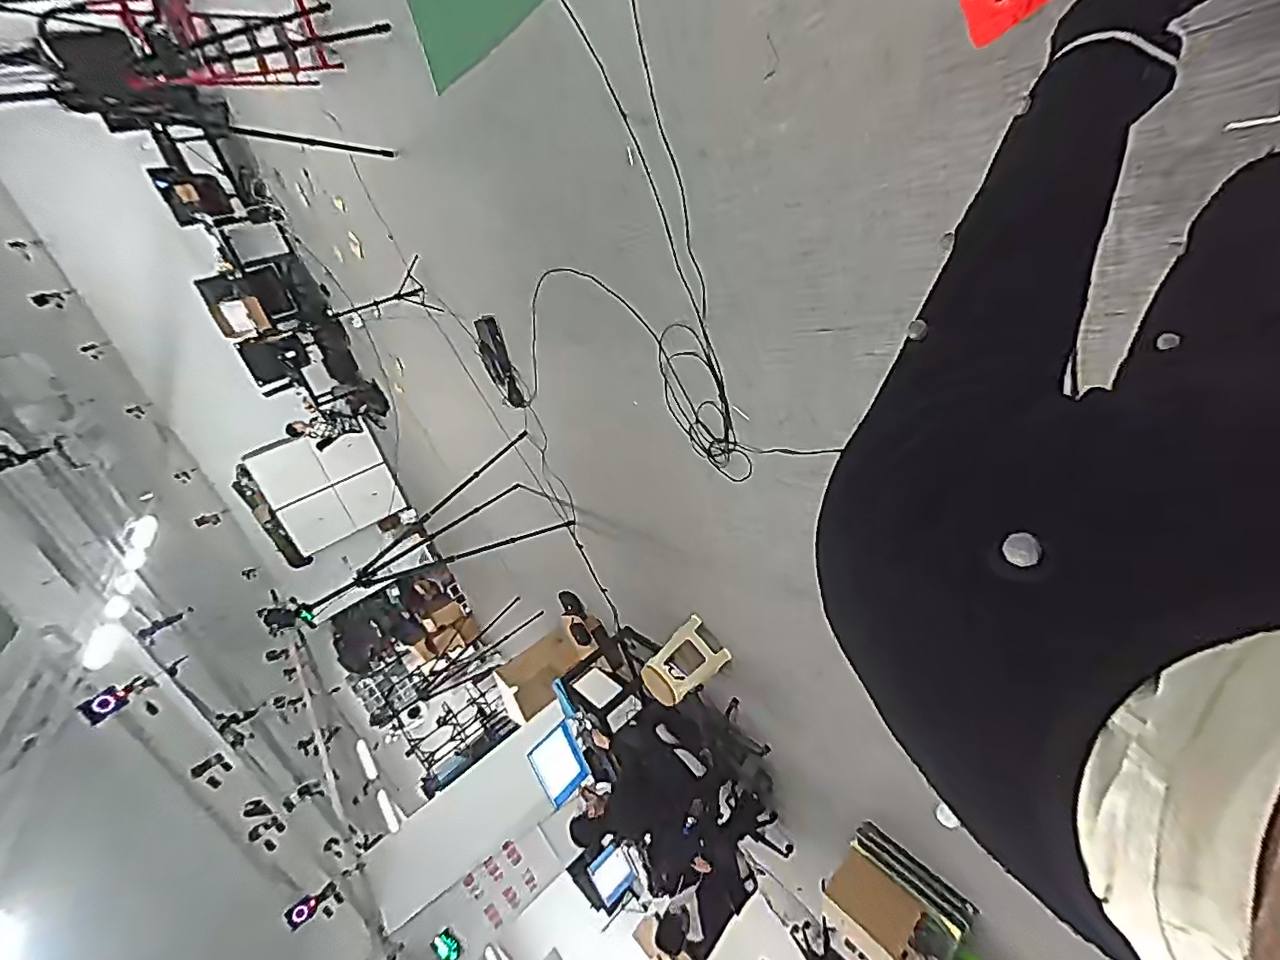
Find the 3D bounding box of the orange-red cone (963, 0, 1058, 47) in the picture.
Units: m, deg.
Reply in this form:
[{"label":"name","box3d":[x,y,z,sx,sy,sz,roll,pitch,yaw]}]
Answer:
[{"label":"orange-red cone","box3d":[0.632,-0.958,1.013,0.199,0.360,0.198,-5,113,59]}]
